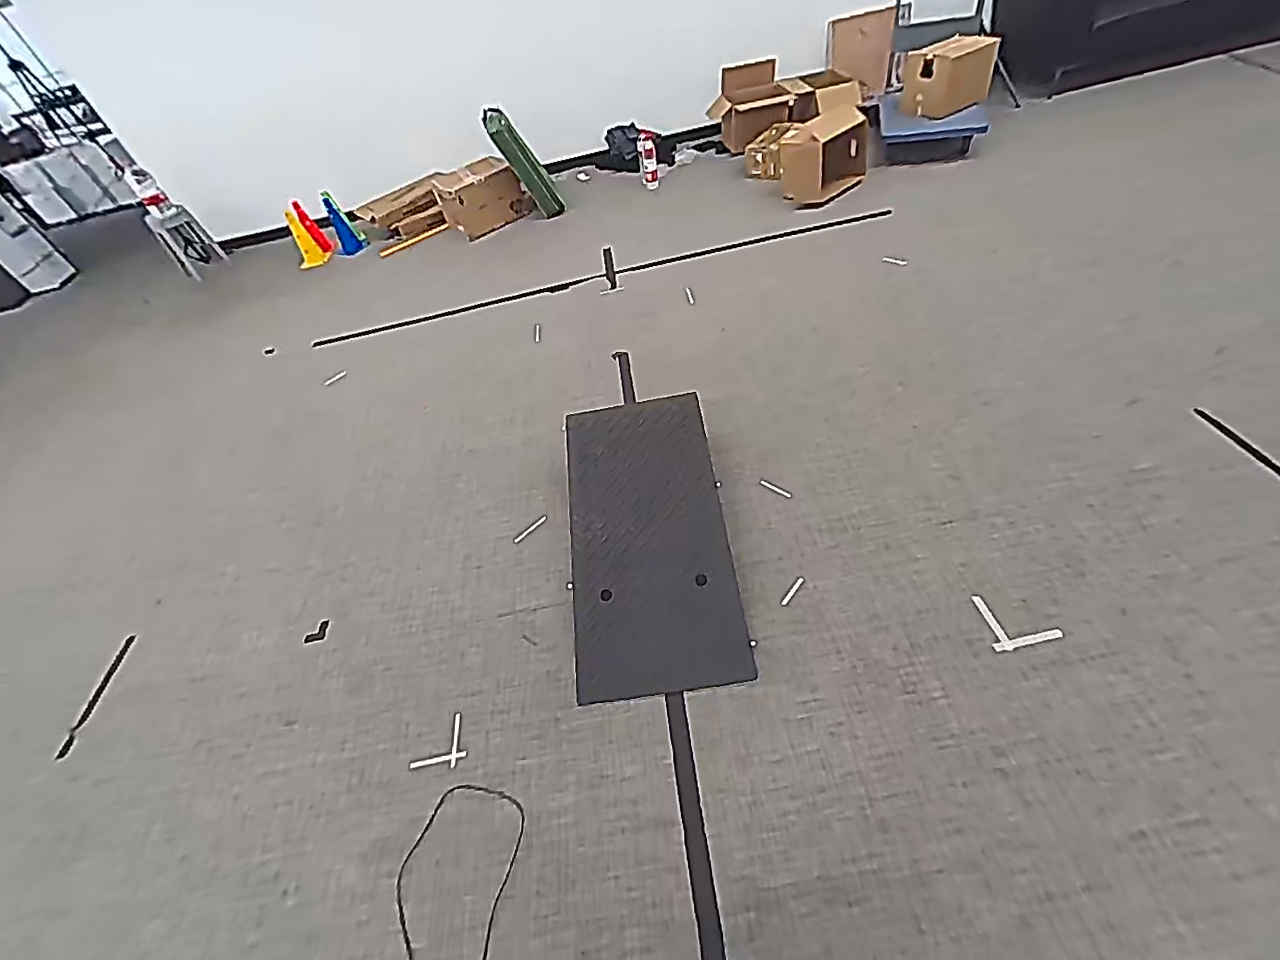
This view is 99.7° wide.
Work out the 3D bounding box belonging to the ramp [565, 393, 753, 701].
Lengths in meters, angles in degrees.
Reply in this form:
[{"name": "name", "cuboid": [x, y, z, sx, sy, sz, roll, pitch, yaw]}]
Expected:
[{"name": "ramp", "cuboid": [0.017, 0.144, 1.715, 0.509, 0.206, 0.991, -10, 48, 2]}]
